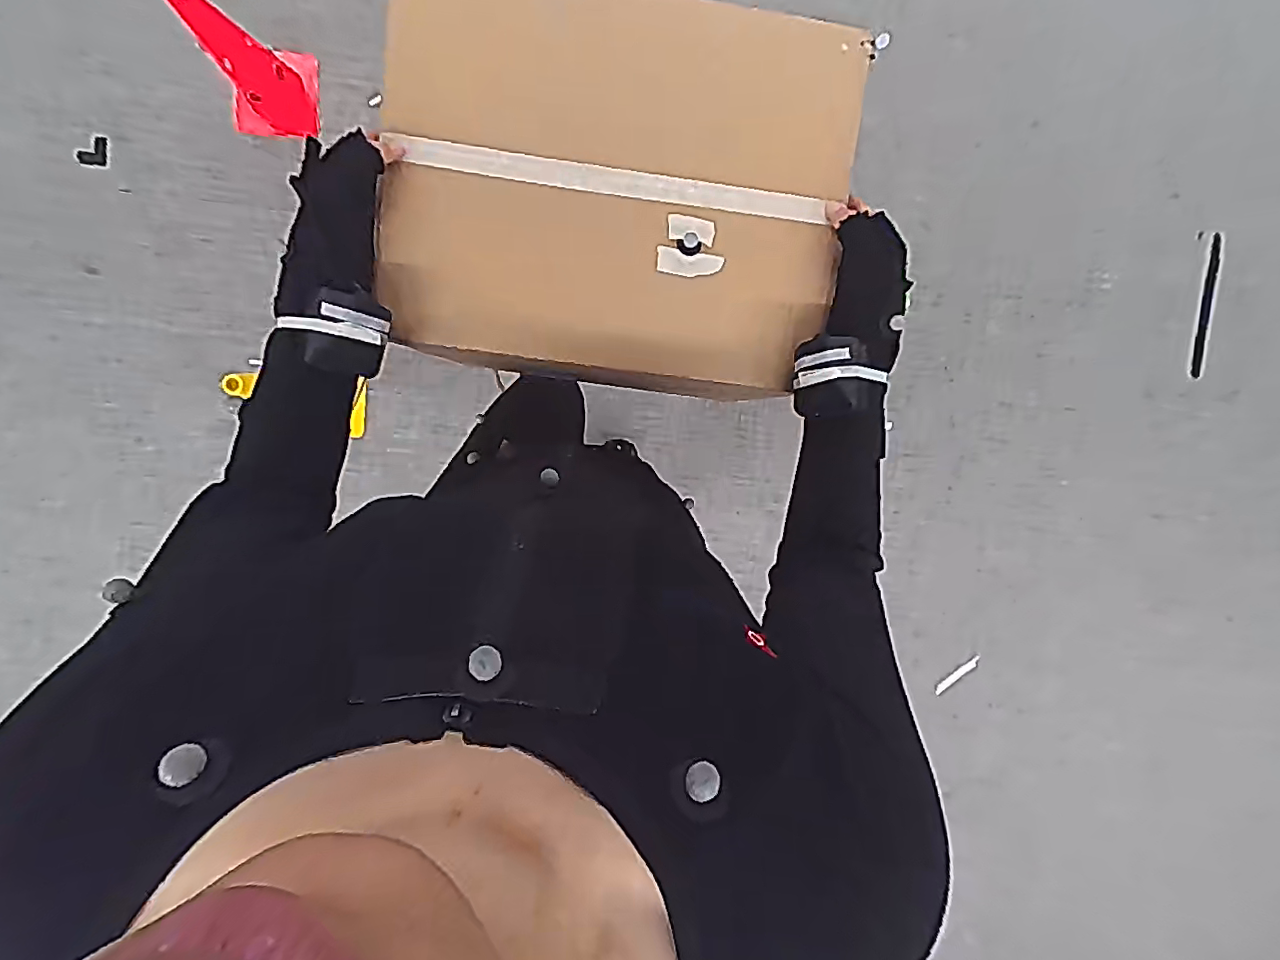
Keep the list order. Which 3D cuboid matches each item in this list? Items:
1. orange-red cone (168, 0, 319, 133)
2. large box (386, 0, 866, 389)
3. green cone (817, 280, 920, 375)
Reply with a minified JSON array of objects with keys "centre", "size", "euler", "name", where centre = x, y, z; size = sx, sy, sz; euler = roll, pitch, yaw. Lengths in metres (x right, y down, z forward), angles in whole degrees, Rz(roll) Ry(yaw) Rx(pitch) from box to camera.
[{"centre":[-0.891,-0.949,1.168],"size":[0.198,0.360,0.199],"euler":[4,97,-2],"name":"orange-red cone"},{"centre":[-0.025,-0.284,0.620],"size":[0.408,0.320,0.320],"euler":[6,97,-5],"name":"large box"},{"centre":[0.538,-0.395,1.284],"size":[0.202,0.368,0.200],"euler":[-31,97,-1],"name":"green cone"}]
